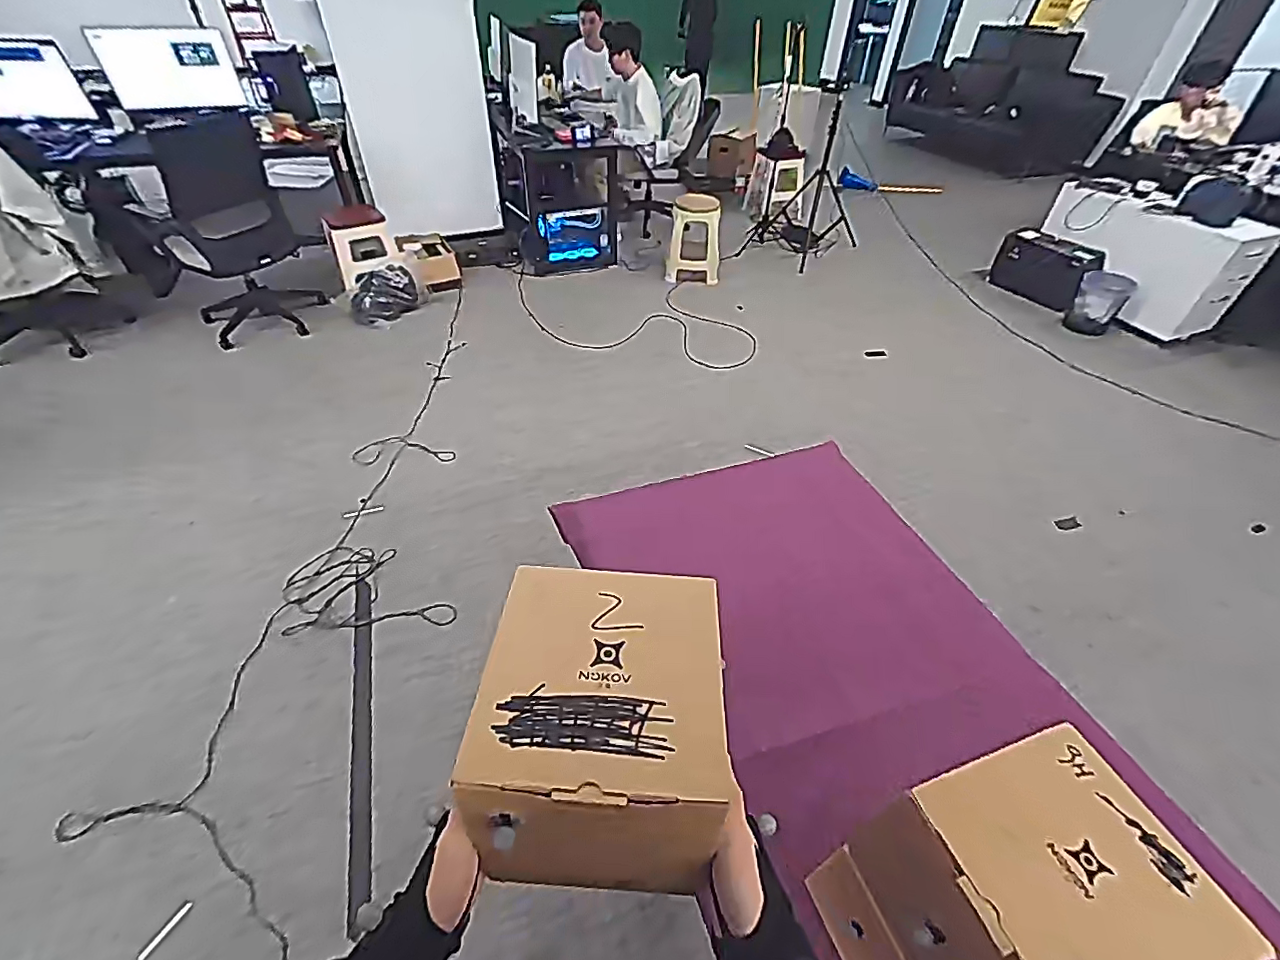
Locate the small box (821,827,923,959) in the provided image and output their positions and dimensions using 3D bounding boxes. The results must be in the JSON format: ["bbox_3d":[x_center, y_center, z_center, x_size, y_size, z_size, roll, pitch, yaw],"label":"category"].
[{"bbox_3d":[0.311,0.456,0.565,0.179,0.176,0.168,-13,45,-16],"label":"small box"}]

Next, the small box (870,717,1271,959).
[{"bbox_3d":[0.321,0.337,0.454,0.179,0.176,0.168,-12,45,-15],"label":"small box"}]
